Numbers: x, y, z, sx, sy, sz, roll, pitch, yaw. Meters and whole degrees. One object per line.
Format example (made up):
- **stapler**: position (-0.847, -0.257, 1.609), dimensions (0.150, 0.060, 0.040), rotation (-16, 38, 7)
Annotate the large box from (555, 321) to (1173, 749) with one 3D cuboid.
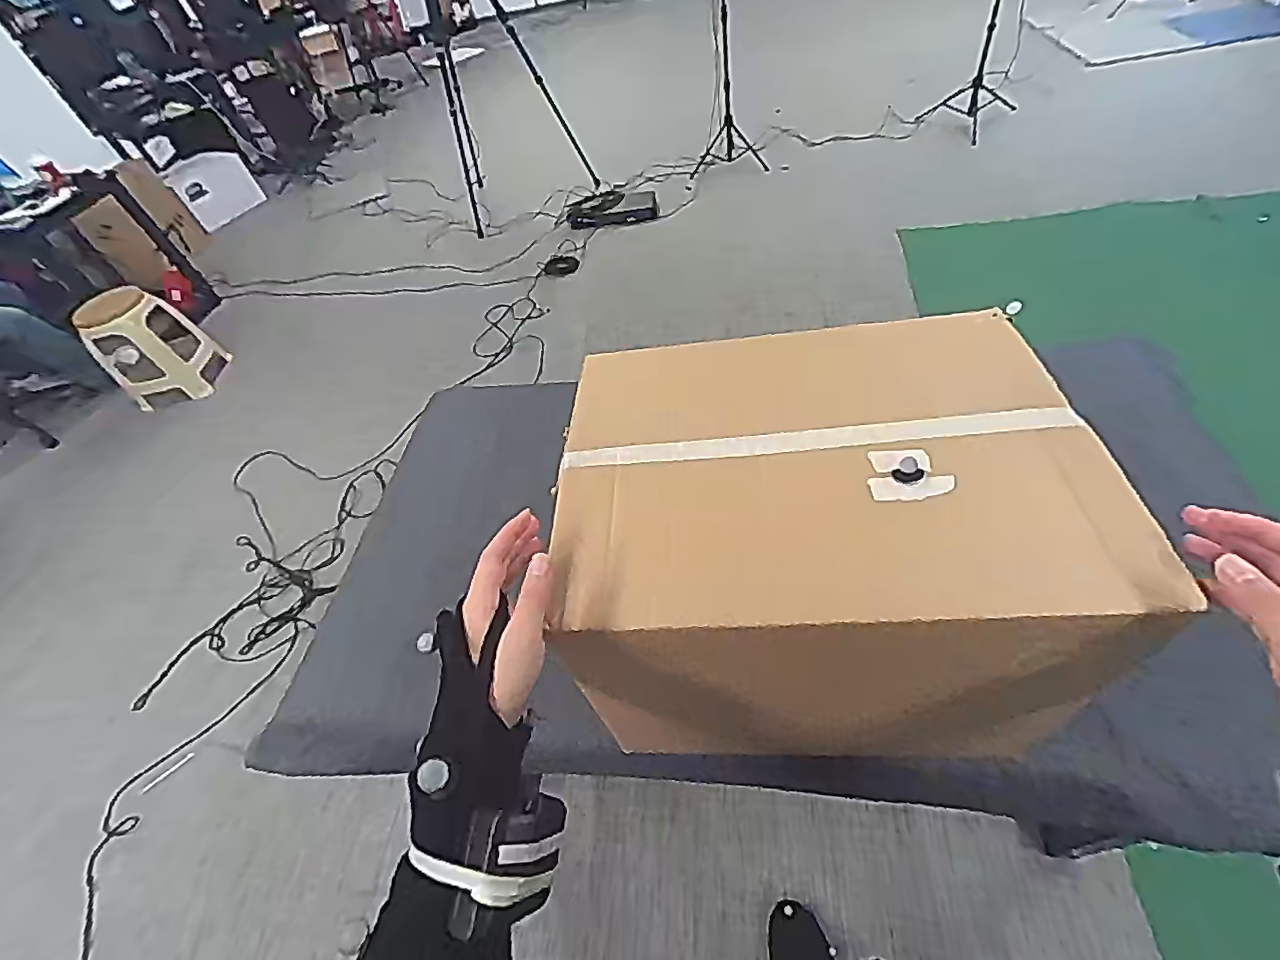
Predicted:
- **large box**: position (0.159, 0.071, 0.563), dimensions (0.408, 0.320, 0.320), rotation (-4, 50, 8)
